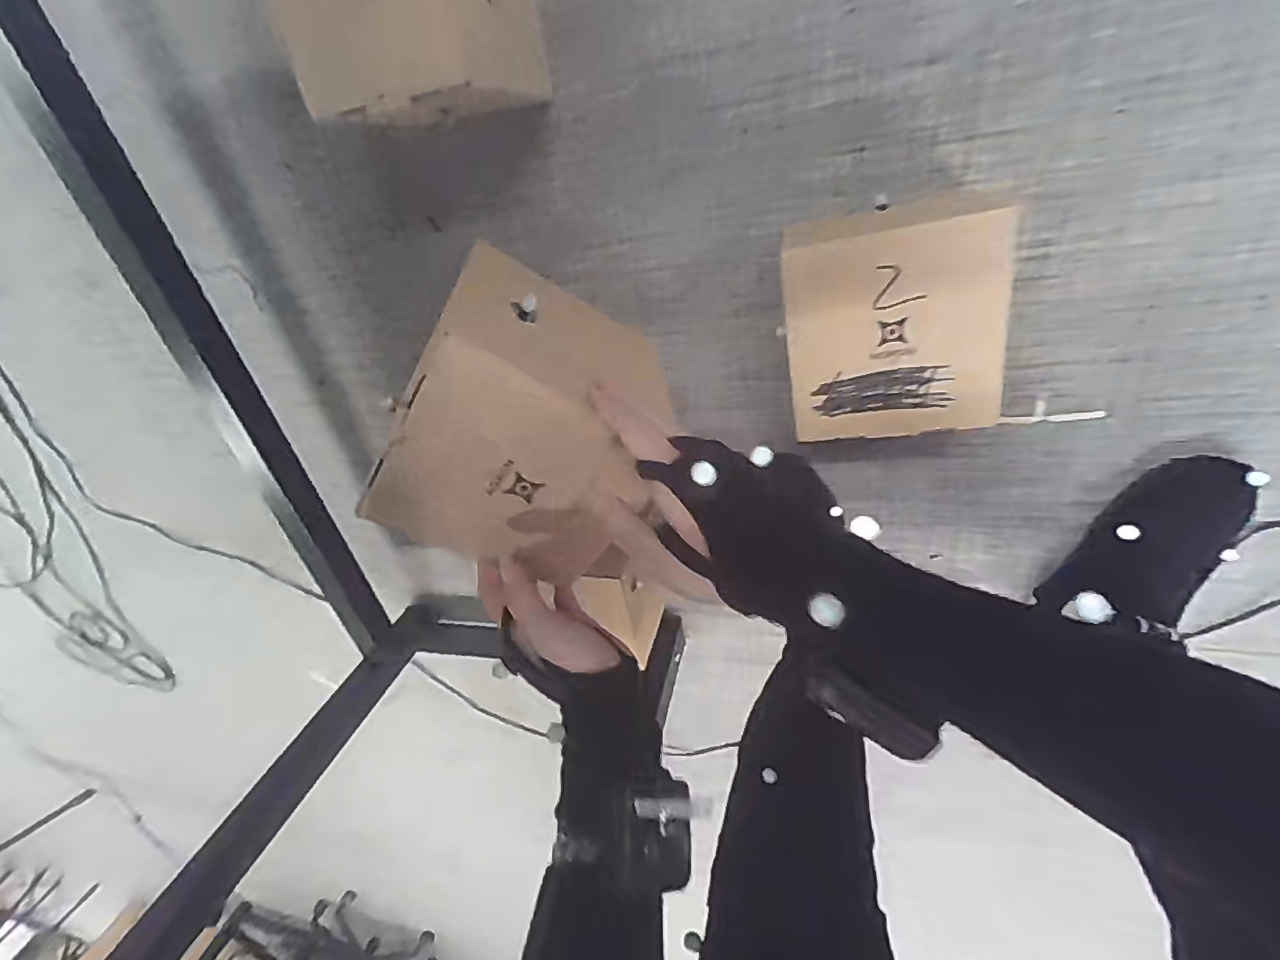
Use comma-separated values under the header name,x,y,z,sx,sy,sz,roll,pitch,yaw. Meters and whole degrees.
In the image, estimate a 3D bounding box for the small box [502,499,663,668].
name,x,y,z,sx,sy,sz,roll,pitch,yaw
small box,-0.071,0.146,0.801,0.168,0.176,0.179,-1,121,19

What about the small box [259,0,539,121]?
name,x,y,z,sx,sy,sz,roll,pitch,yaw
small box,-0.207,-0.430,0.473,0.168,0.176,0.179,2,122,17
